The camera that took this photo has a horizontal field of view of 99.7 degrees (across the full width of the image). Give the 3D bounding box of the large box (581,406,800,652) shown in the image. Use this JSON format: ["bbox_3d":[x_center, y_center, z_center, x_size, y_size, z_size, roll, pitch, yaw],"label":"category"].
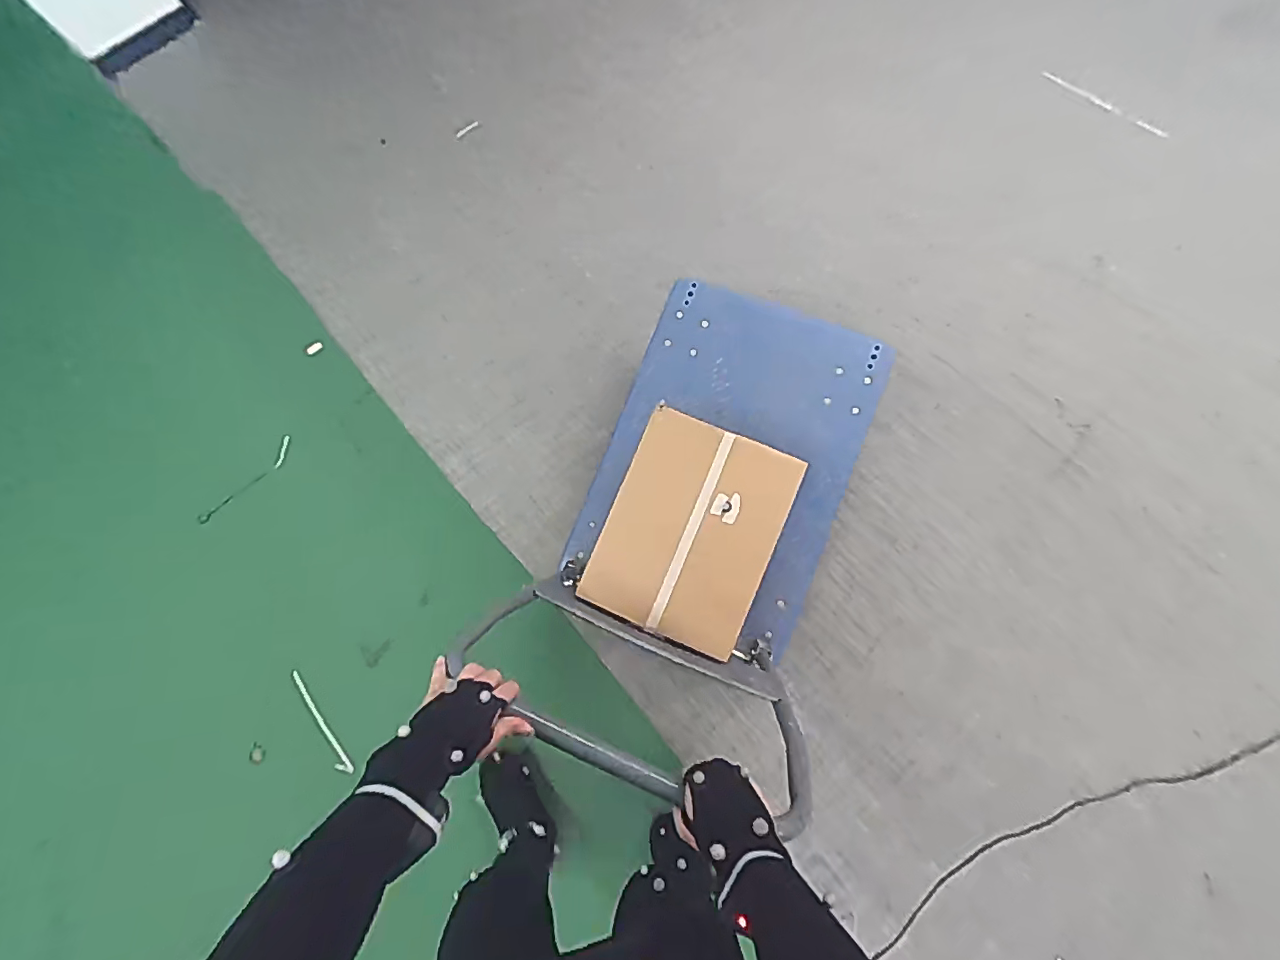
[{"bbox_3d":[0.111,0.109,1.193,0.320,0.320,0.408,23,85,8],"label":"large box"}]
